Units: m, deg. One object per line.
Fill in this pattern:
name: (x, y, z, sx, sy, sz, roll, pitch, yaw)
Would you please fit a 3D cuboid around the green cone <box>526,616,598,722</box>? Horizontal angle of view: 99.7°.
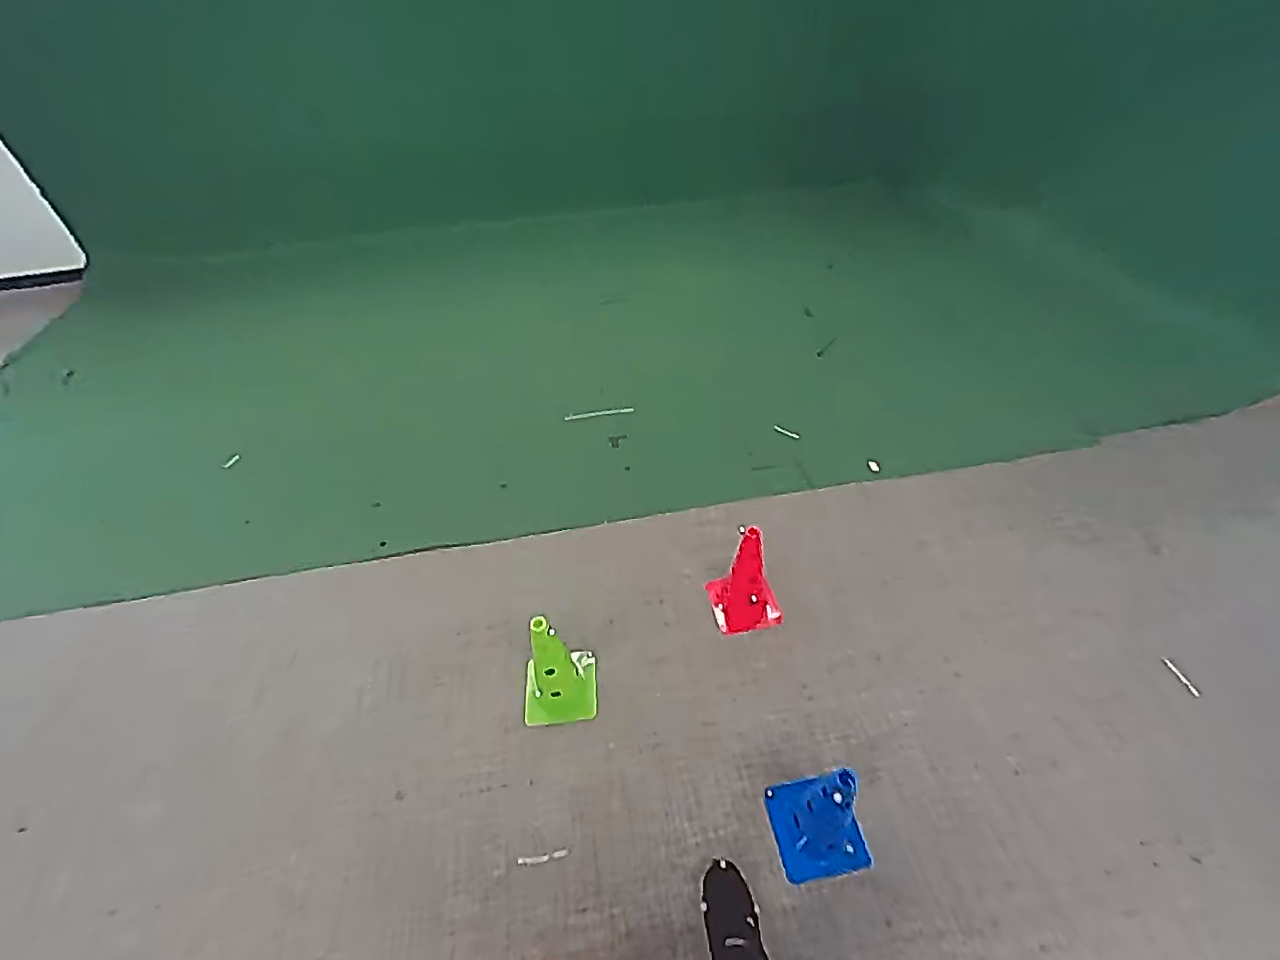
green cone: (-0.235, 0.465, 1.427, 0.200, 0.368, 0.202, -7, 46, -2)
